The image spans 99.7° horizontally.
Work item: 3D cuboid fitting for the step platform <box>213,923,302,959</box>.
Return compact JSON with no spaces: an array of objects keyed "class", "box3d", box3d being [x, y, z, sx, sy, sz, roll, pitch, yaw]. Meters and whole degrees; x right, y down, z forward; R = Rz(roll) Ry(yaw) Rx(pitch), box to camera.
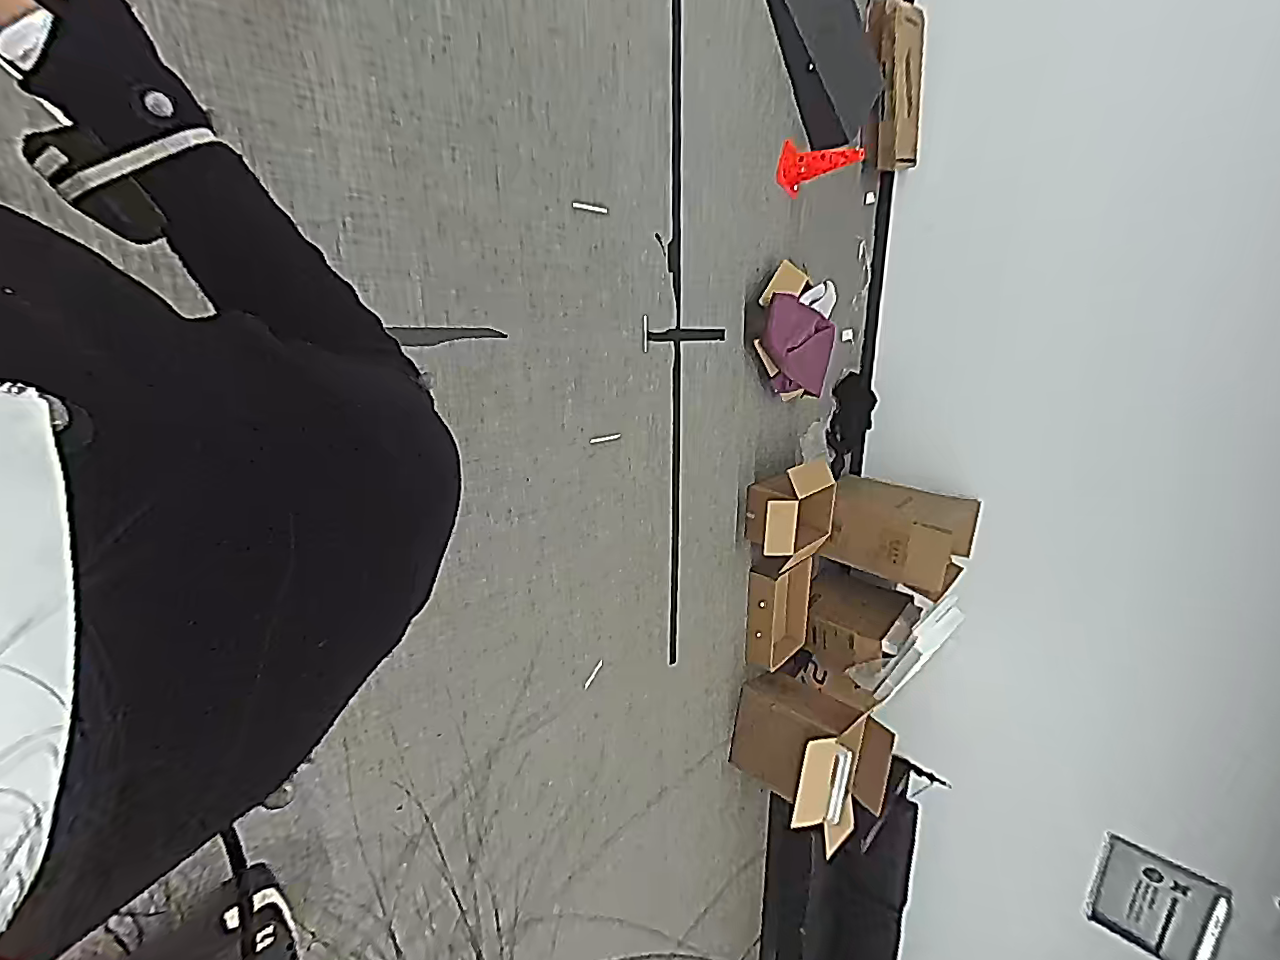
[{"class":"step platform","box3d":[-1.036,1.271,1.069,0.684,0.204,0.286,-19,115,-42]}]
